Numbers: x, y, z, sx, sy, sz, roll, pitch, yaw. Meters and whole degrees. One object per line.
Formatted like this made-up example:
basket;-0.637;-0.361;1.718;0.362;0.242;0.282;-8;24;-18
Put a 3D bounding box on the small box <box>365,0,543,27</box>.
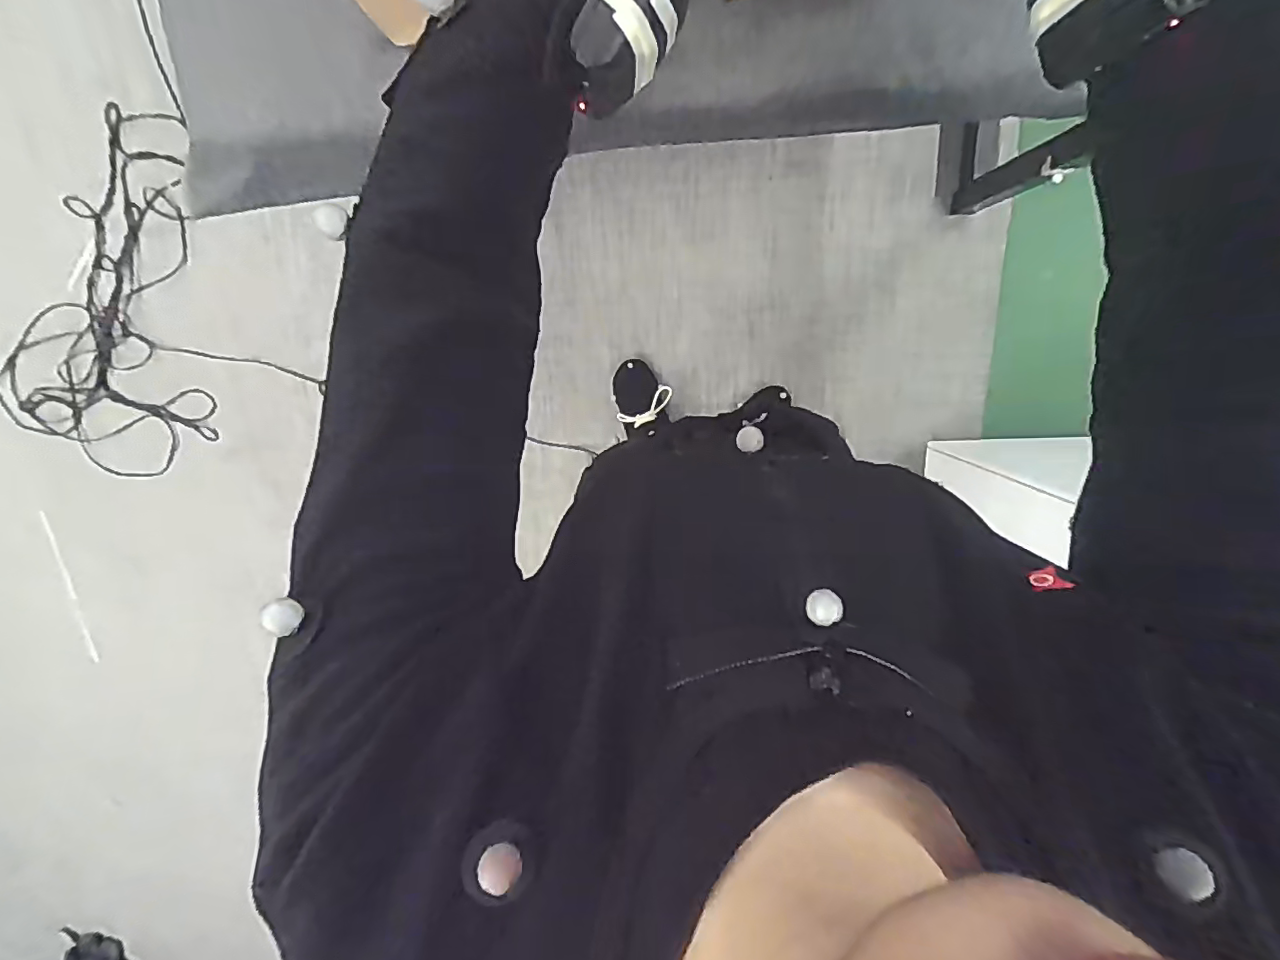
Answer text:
small box;-0.182;-0.510;0.435;0.168;0.176;0.179;-7;103;4
